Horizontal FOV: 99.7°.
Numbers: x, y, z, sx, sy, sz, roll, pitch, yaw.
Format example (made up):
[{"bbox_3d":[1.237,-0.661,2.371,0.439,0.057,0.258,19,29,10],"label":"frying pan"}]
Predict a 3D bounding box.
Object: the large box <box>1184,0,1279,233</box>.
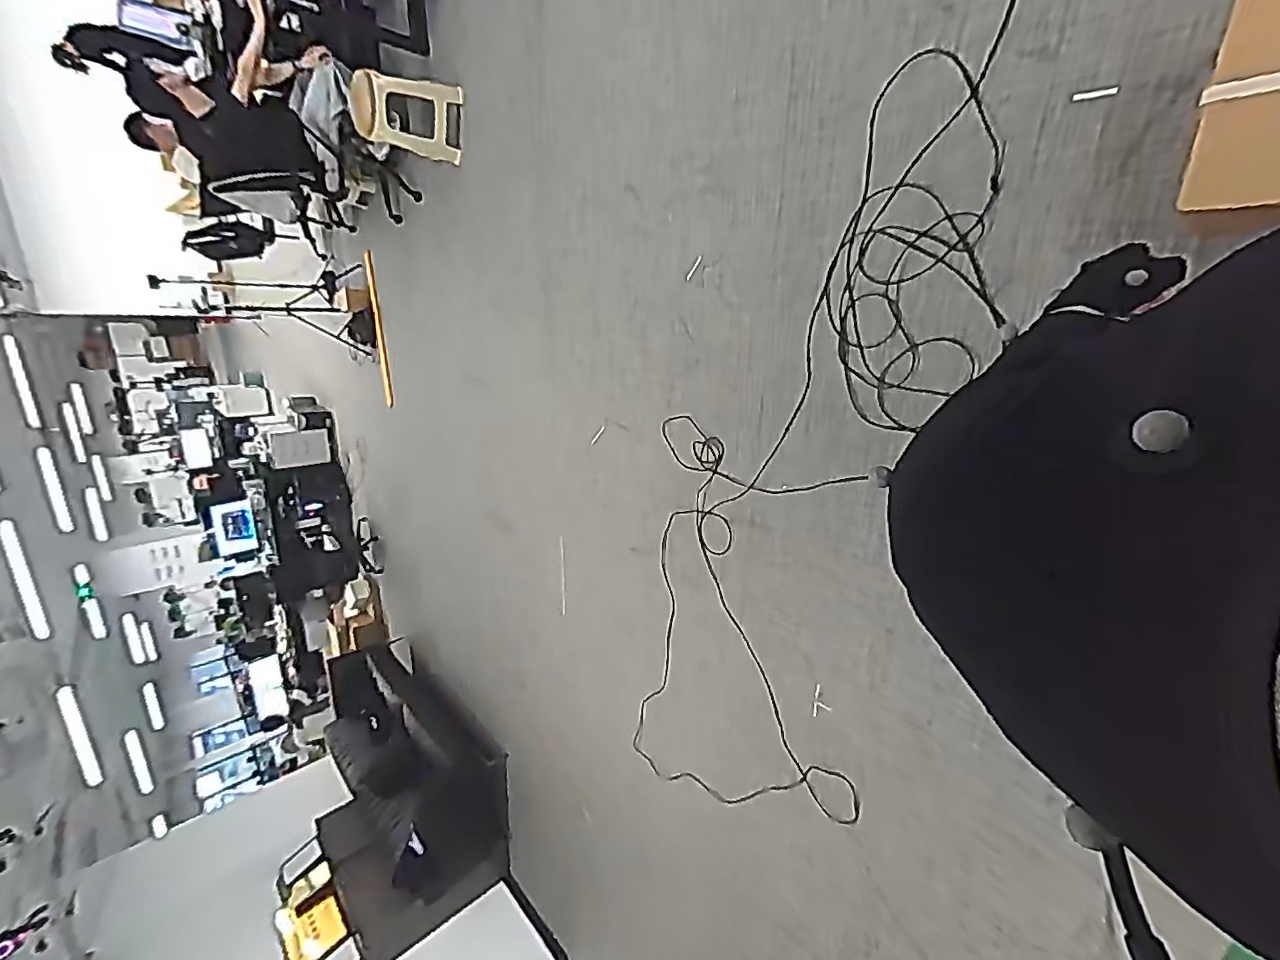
[{"bbox_3d":[1.073,-0.547,0.746,0.408,0.320,0.320,18,114,44],"label":"large box"}]
